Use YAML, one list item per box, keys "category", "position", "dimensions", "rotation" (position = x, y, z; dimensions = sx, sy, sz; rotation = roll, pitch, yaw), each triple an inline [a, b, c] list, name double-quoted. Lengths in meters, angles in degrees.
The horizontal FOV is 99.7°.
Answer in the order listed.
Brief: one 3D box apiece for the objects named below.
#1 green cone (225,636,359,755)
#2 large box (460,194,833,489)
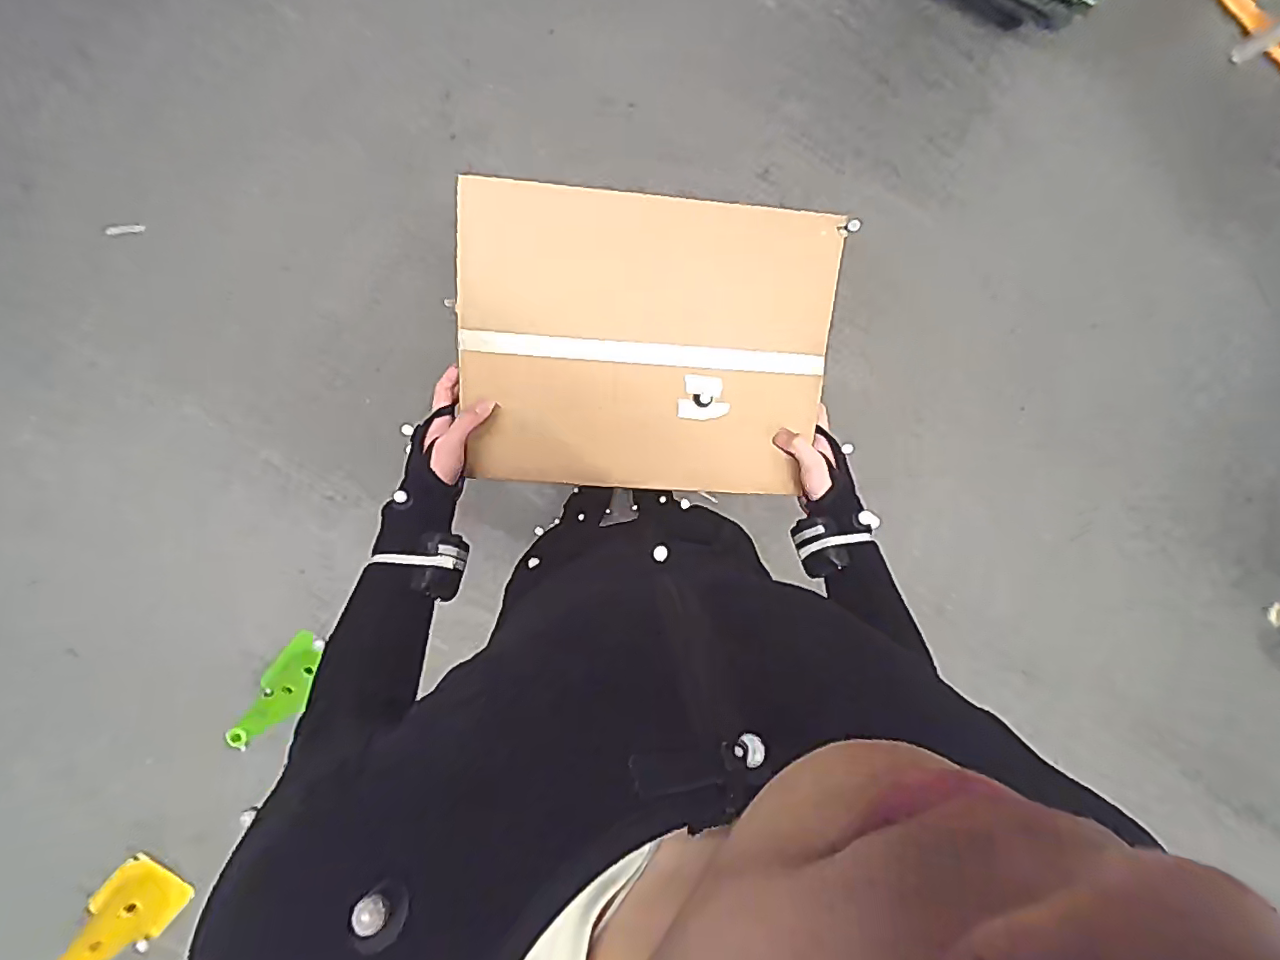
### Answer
- category: "green cone"
  position: [-0.916, 0.576, 1.368]
  dimensions: [0.200, 0.368, 0.202]
  rotation: [38, 88, -7]
- category: "large box"
  position: [-0.007, -0.177, 0.748]
  dimensions: [0.408, 0.320, 0.320]
  rotation: [1, 106, -6]
